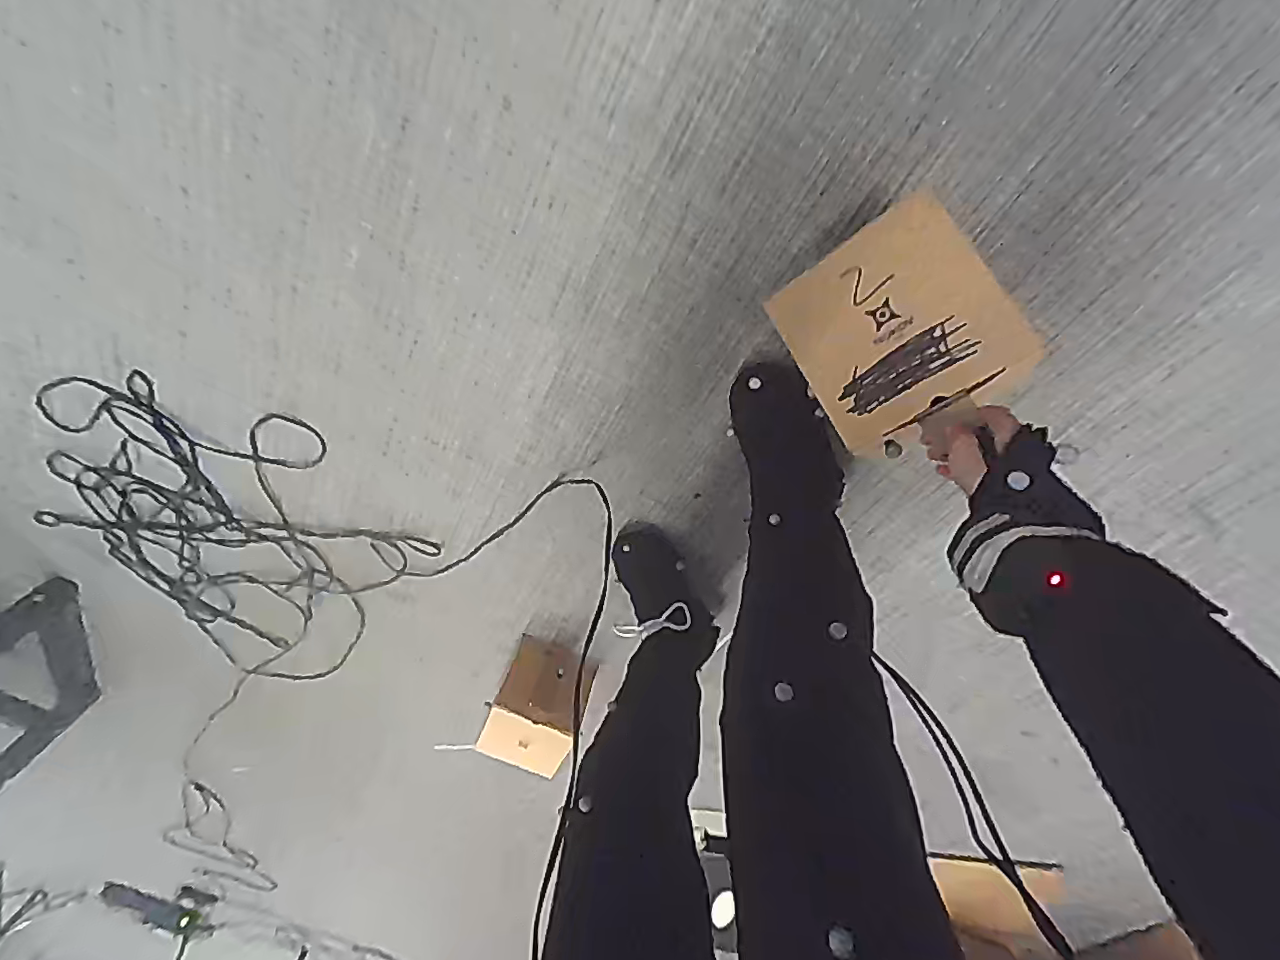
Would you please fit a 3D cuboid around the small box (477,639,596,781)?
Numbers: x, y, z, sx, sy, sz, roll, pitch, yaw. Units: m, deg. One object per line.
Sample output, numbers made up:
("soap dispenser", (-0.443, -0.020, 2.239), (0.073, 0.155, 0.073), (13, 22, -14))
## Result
("small box", (-0.201, 0.458, 1.085), (0.168, 0.176, 0.179), (24, 124, -4))
